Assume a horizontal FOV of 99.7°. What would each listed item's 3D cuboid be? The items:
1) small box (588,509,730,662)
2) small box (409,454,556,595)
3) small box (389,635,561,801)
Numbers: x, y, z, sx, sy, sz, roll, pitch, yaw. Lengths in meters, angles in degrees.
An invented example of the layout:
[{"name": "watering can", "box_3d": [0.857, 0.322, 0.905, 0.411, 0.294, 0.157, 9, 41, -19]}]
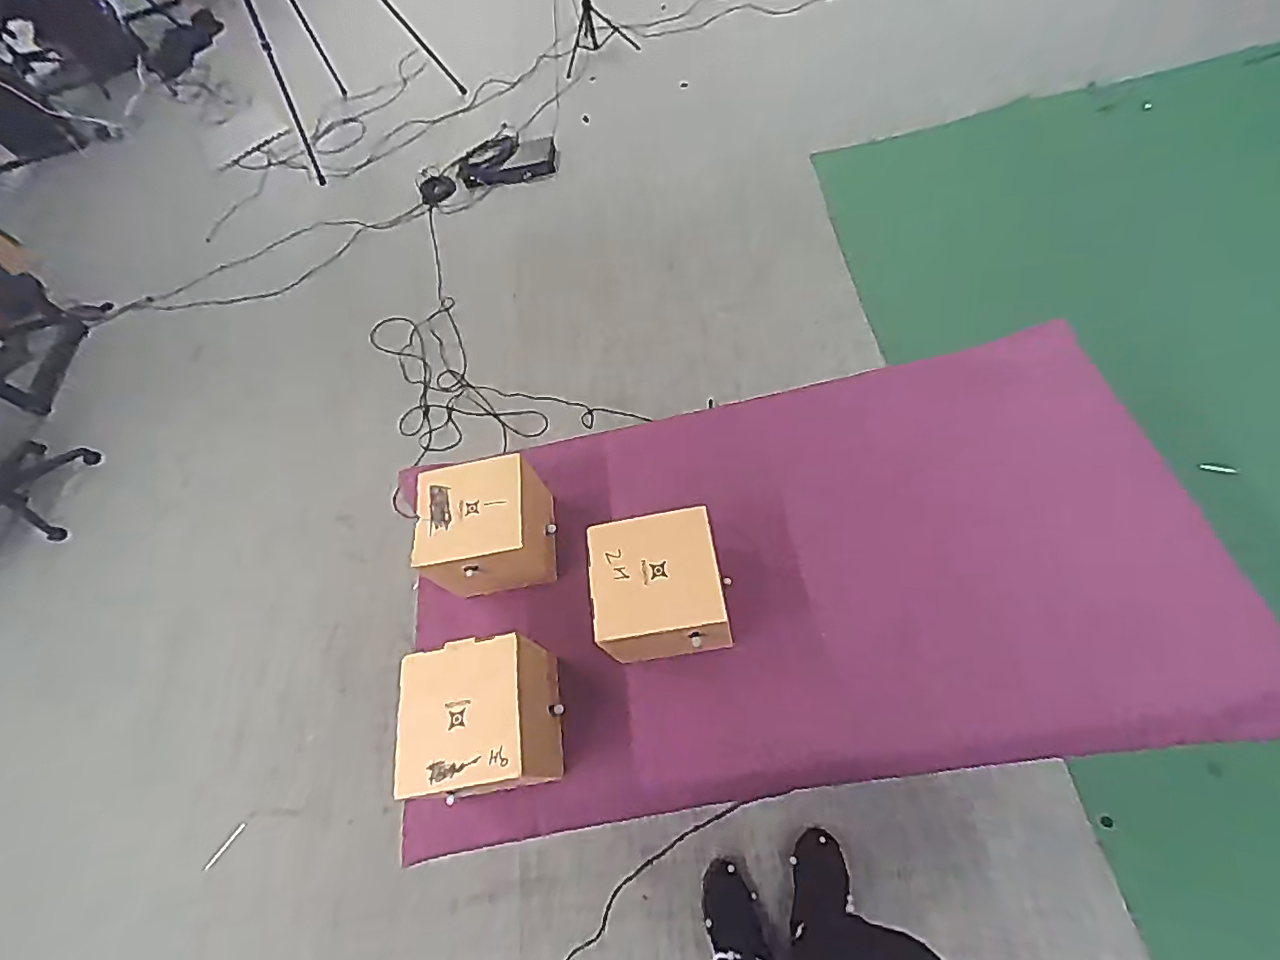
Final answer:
[{"name": "small box", "box_3d": [0.032, 0.160, 0.788, 0.179, 0.176, 0.168, -11, 61, 6]}, {"name": "small box", "box_3d": [-0.249, 0.081, 0.890, 0.179, 0.176, 0.168, -10, 62, 5]}, {"name": "small box", "box_3d": [-0.215, 0.333, 0.748, 0.168, 0.176, 0.179, -13, 59, 6]}]
